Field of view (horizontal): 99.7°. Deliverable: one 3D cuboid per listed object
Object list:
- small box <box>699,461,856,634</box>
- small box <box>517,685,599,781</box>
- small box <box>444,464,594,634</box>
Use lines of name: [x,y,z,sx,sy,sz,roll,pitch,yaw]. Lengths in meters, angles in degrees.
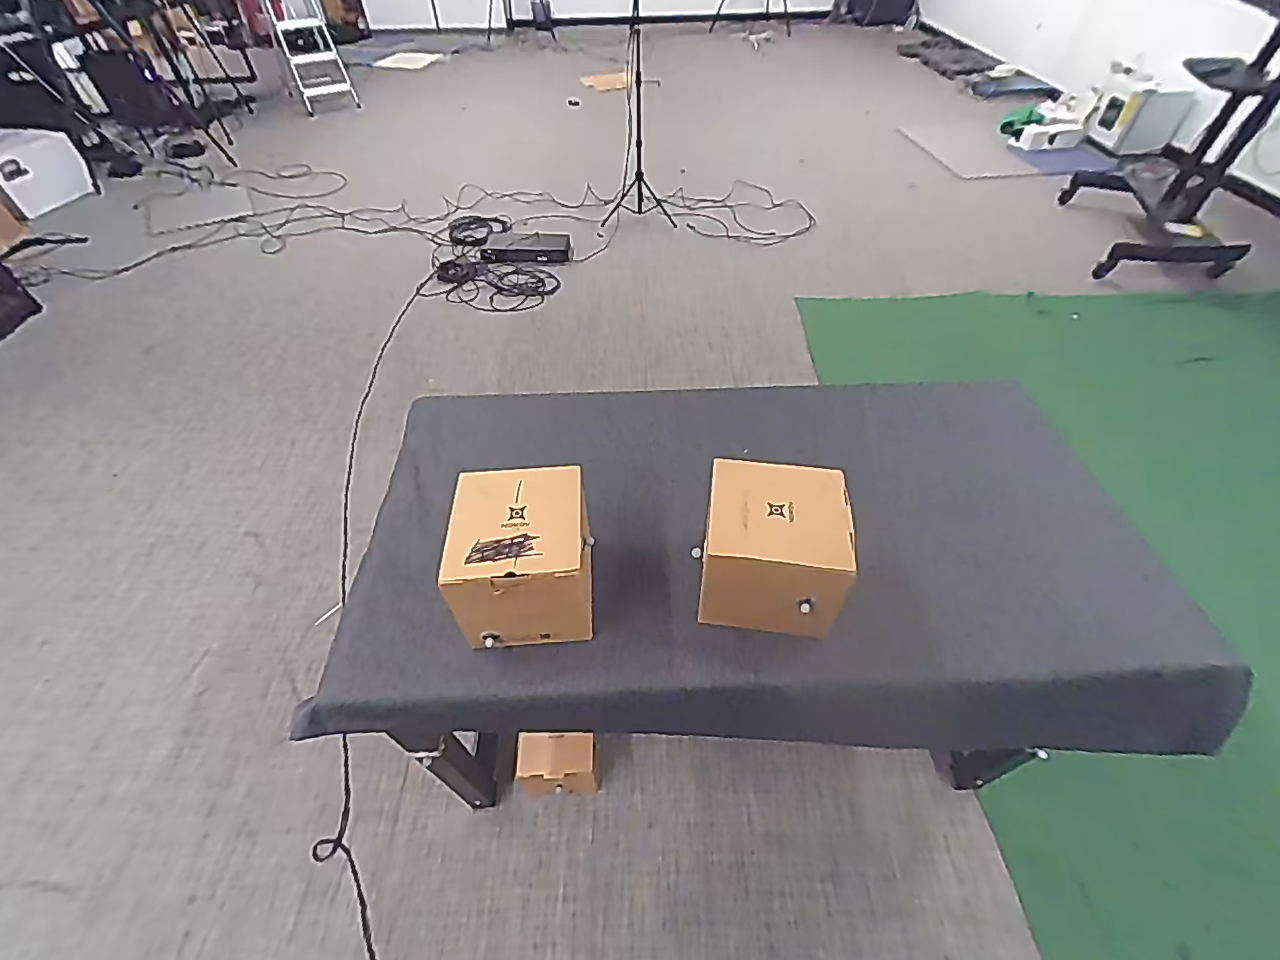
small box: [0.179,0.097,0.748,0.179,0.176,0.168,6,48,7]
small box: [-0.185,0.602,1.277,0.168,0.176,0.179,-2,49,-1]
small box: [-0.151,0.100,0.743,0.168,0.176,0.179,-3,47,-2]
